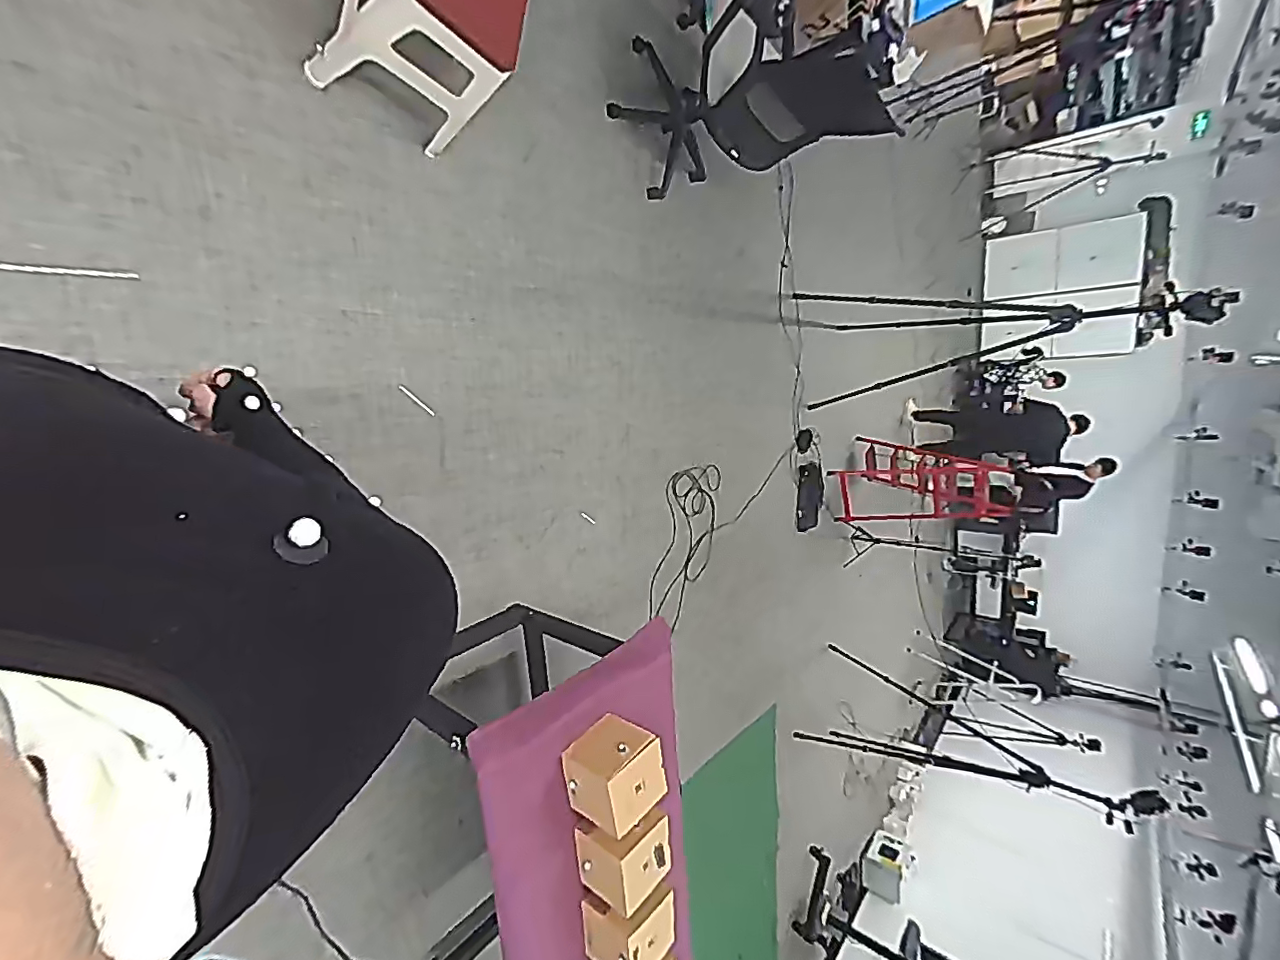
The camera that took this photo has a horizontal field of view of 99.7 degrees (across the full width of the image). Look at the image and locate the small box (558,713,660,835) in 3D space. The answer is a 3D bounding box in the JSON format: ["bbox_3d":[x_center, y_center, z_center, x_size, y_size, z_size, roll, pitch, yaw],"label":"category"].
[{"bbox_3d":[-0.075,0.709,1.330,0.179,0.176,0.168,-22,110,-44],"label":"small box"}]

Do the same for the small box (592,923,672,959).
[{"bbox_3d":[-0.030,1.370,1.462,0.179,0.176,0.168,-14,104,-47],"label":"small box"}]

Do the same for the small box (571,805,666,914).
[{"bbox_3d":[-0.054,0.930,1.381,0.179,0.176,0.168,-16,106,-45],"label":"small box"}]
